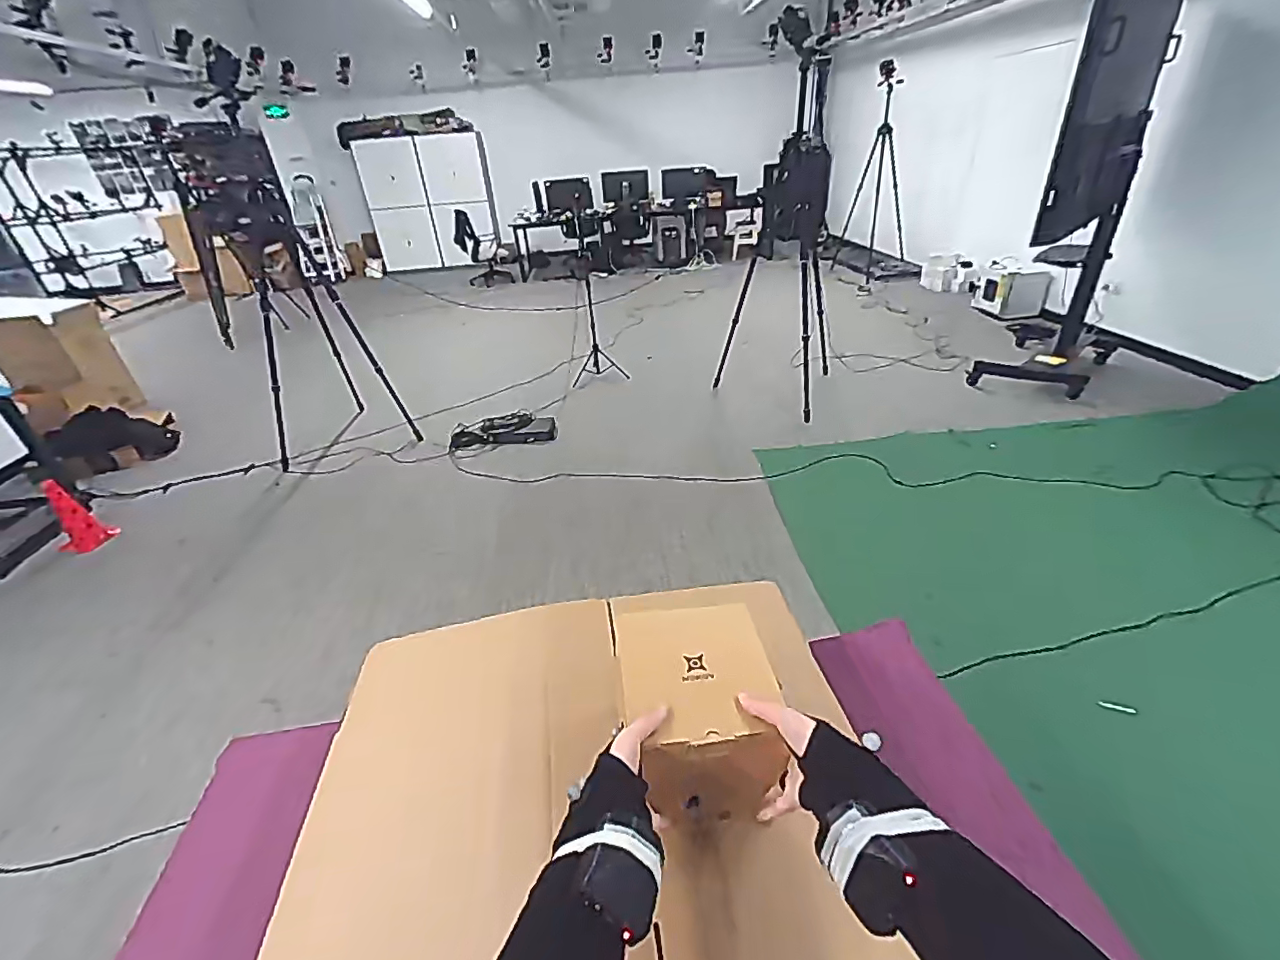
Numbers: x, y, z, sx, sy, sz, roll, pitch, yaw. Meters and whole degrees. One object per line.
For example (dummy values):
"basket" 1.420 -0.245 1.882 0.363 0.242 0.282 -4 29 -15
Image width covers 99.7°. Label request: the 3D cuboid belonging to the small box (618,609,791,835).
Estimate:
"small box" 0.060 0.278 0.638 0.168 0.176 0.179 -4 33 -5
